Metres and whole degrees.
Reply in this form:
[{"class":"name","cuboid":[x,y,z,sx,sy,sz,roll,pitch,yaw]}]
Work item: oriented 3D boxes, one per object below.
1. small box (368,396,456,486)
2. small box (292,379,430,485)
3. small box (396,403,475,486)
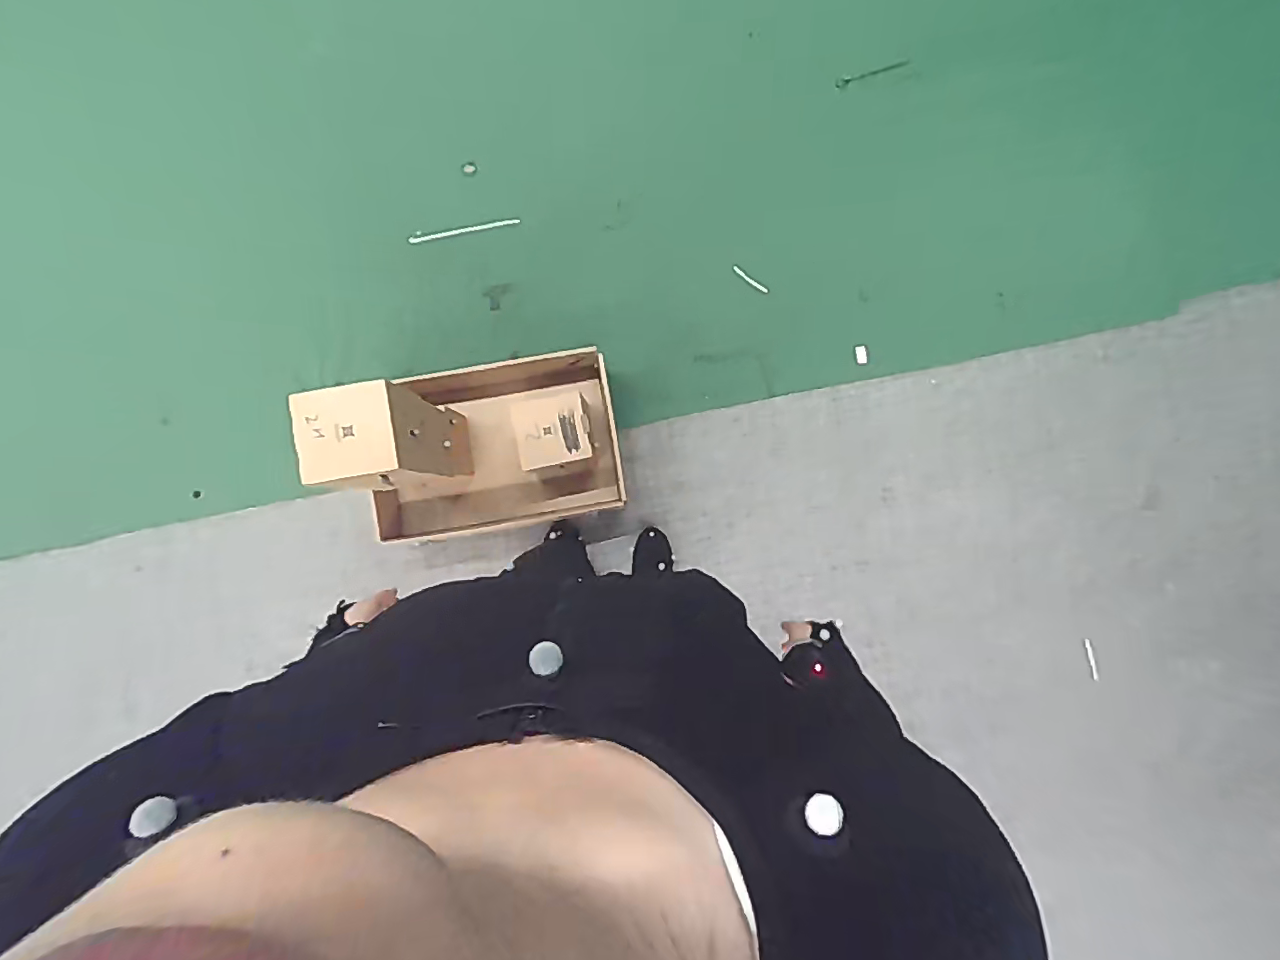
[{"class":"small box","cuboid":[-0.532,-0.080,1.202,0.179,0.176,0.168,-10,89,-2]},{"class":"small box","cuboid":[-0.519,-0.085,1.037,0.179,0.176,0.168,-11,88,-1]},{"class":"small box","cuboid":[-0.531,-0.085,1.366,0.168,0.176,0.179,-11,89,-1]}]
